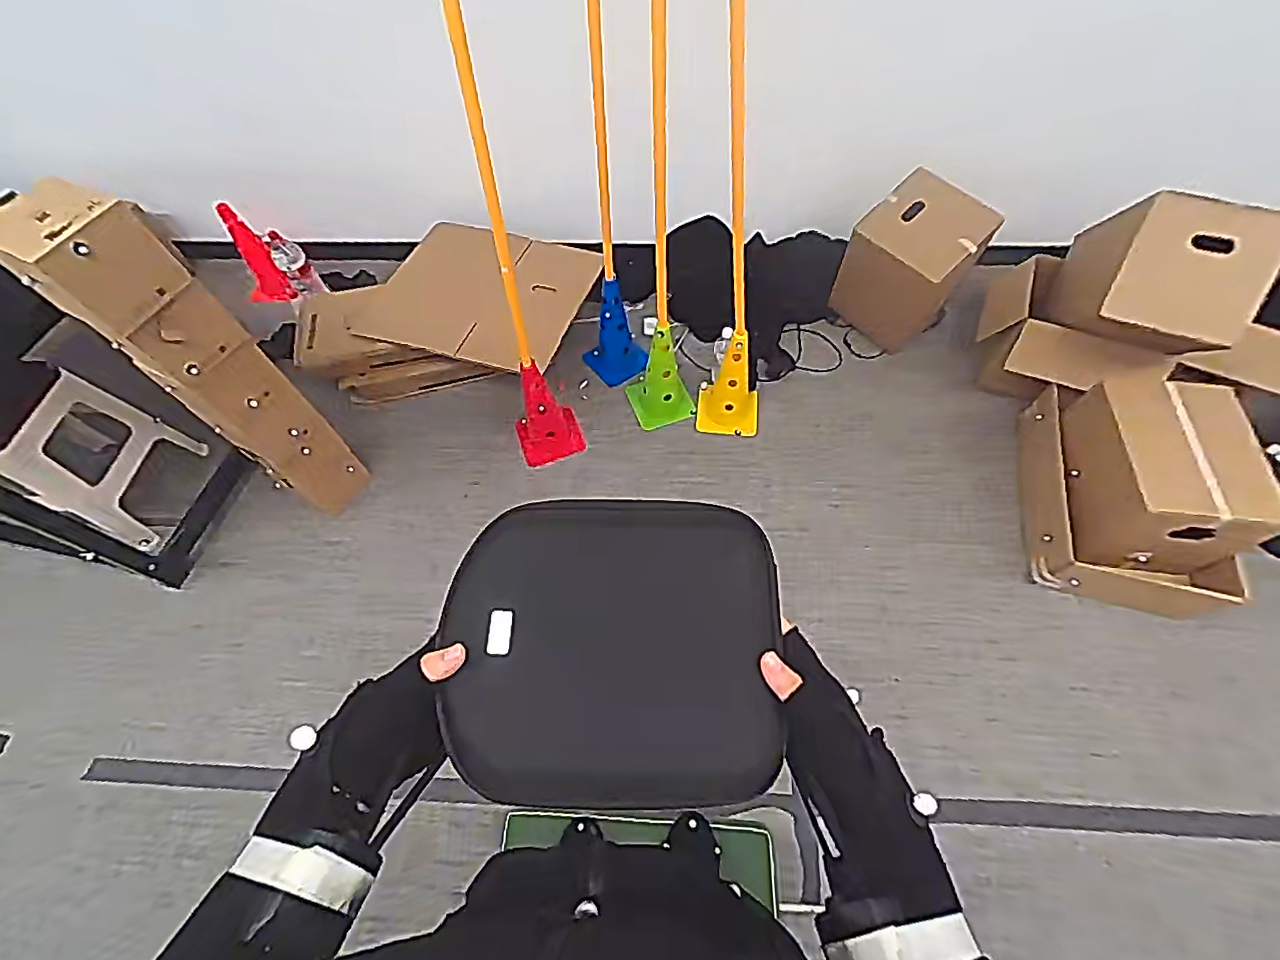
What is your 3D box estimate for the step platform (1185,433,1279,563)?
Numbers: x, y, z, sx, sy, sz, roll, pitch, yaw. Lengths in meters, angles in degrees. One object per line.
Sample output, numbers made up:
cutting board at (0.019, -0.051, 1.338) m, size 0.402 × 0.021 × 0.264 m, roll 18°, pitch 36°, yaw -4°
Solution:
step platform at (1.999, -0.031, 1.573) m, size 0.684 × 0.204 × 0.286 m, roll -24°, pitch 62°, yaw -11°
